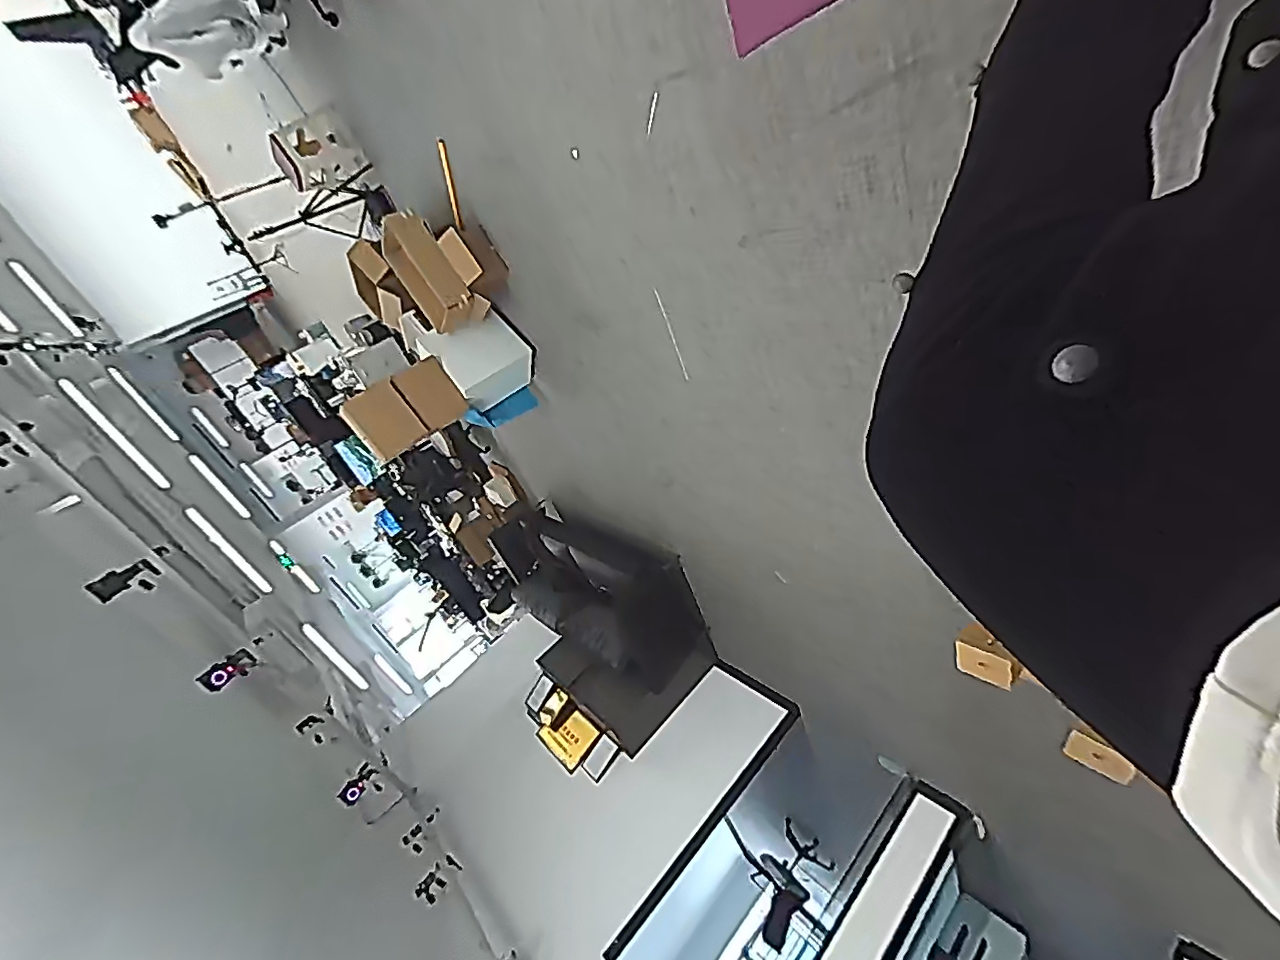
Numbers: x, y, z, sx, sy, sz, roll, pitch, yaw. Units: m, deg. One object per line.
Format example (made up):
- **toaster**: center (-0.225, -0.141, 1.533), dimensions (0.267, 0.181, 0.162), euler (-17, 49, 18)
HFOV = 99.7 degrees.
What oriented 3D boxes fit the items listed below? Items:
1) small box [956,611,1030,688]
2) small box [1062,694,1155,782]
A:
- **small box**: center (1.258, 0.594, 1.928), dimensions (0.179, 0.176, 0.168), euler (16, 137, 48)
- **small box**: center (1.542, 0.840, 1.782), dimensions (0.179, 0.176, 0.168), euler (24, 144, 42)
